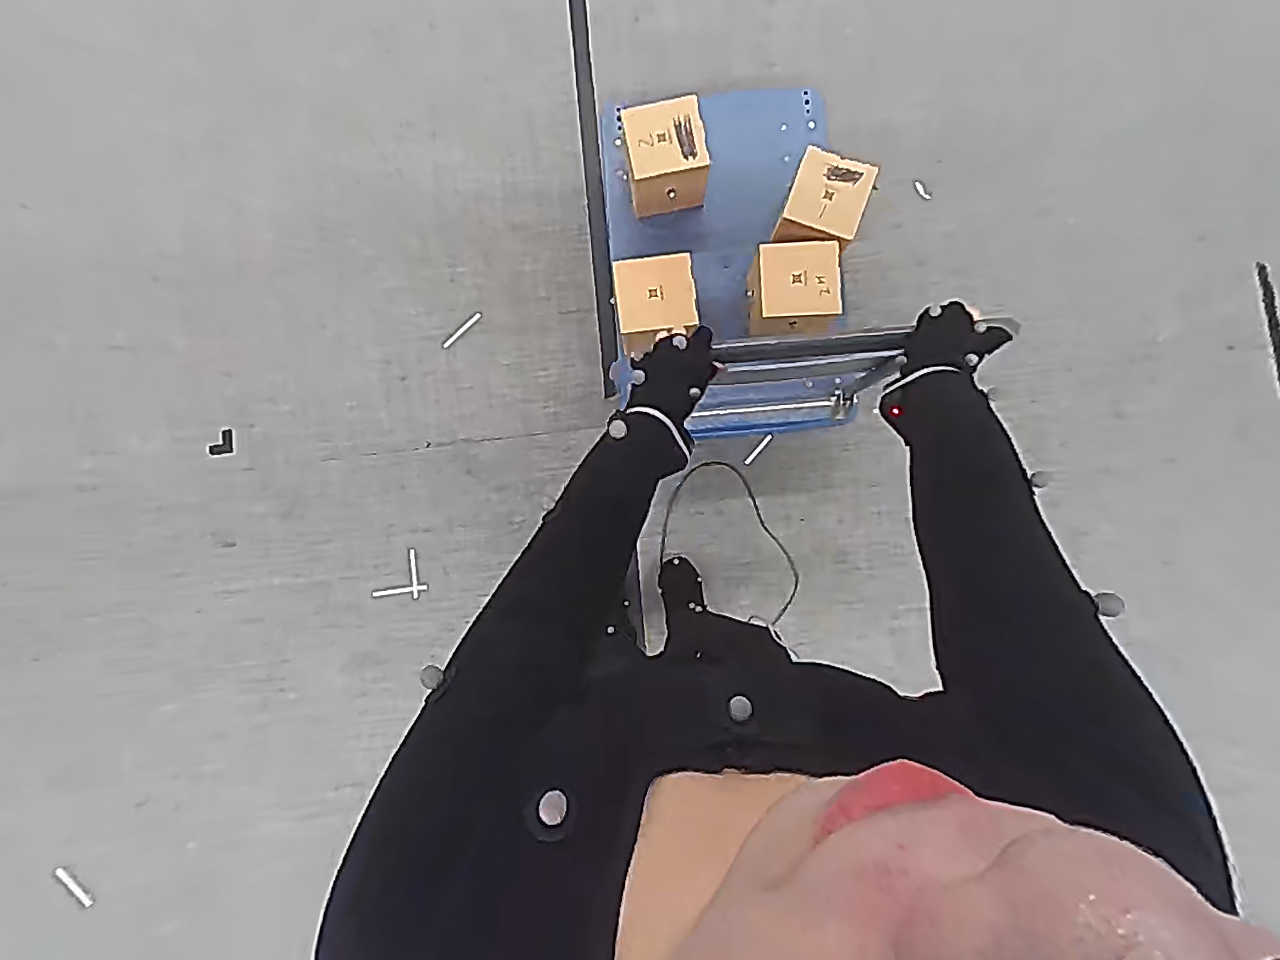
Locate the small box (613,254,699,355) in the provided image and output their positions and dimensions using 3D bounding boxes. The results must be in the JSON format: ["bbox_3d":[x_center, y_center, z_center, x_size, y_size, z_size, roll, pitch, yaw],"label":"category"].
[{"bbox_3d":[0.037,-0.403,1.267,0.179,0.176,0.168,-7,87,0],"label":"small box"}]

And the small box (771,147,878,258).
[{"bbox_3d":[0.420,-0.625,1.266,0.168,0.176,0.179,20,89,3],"label":"small box"}]

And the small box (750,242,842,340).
[{"bbox_3d":[0.353,-0.432,1.258,0.179,0.176,0.168,-2,87,2],"label":"small box"}]
